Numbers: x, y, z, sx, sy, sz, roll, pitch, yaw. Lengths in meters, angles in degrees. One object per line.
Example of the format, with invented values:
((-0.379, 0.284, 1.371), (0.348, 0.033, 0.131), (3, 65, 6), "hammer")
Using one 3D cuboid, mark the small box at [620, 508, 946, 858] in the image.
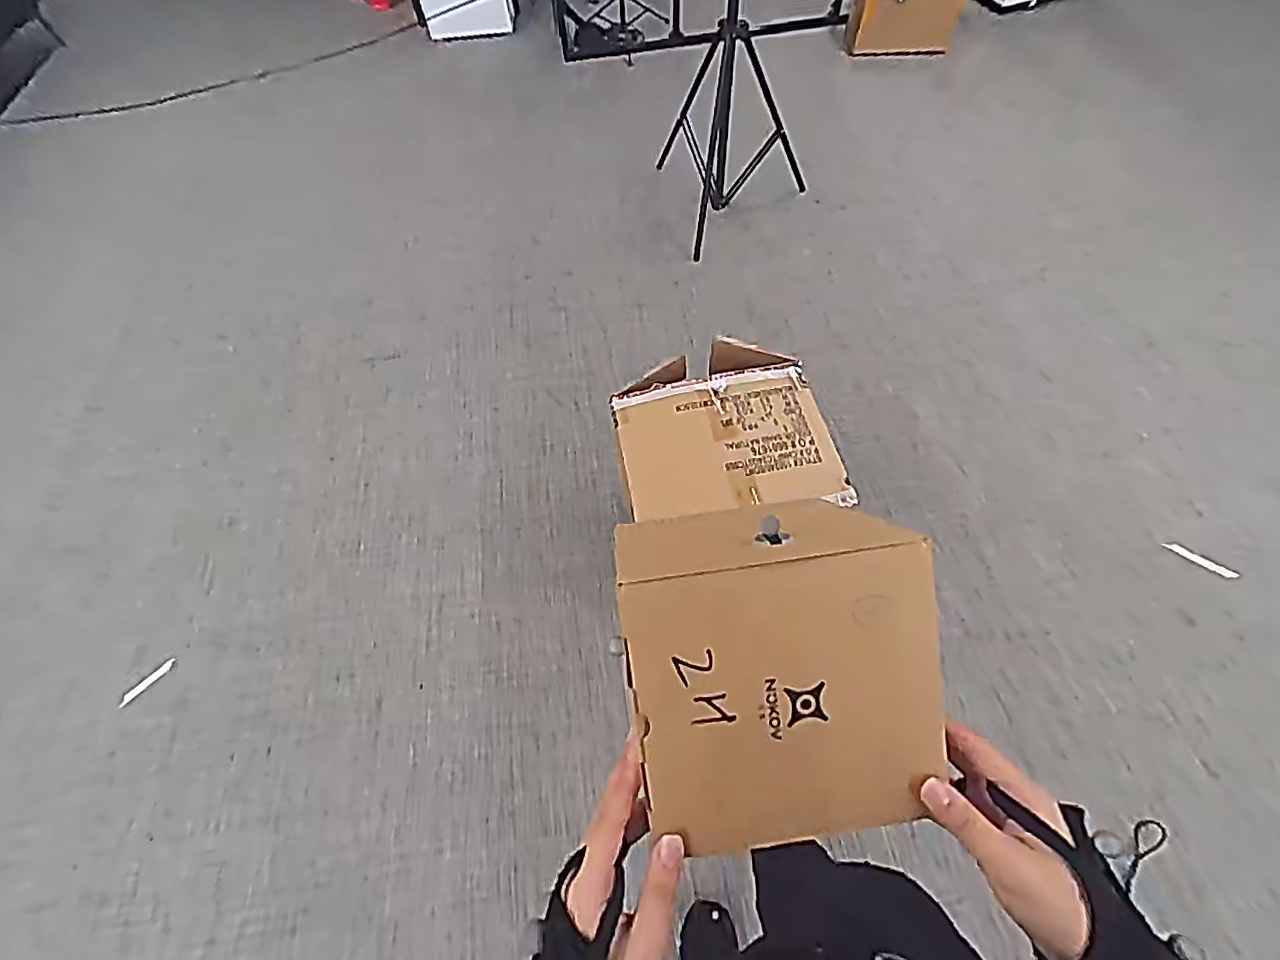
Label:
((0.082, 0.120, 0.388), (0.179, 0.176, 0.168), (-8, 95, -2), "small box")
